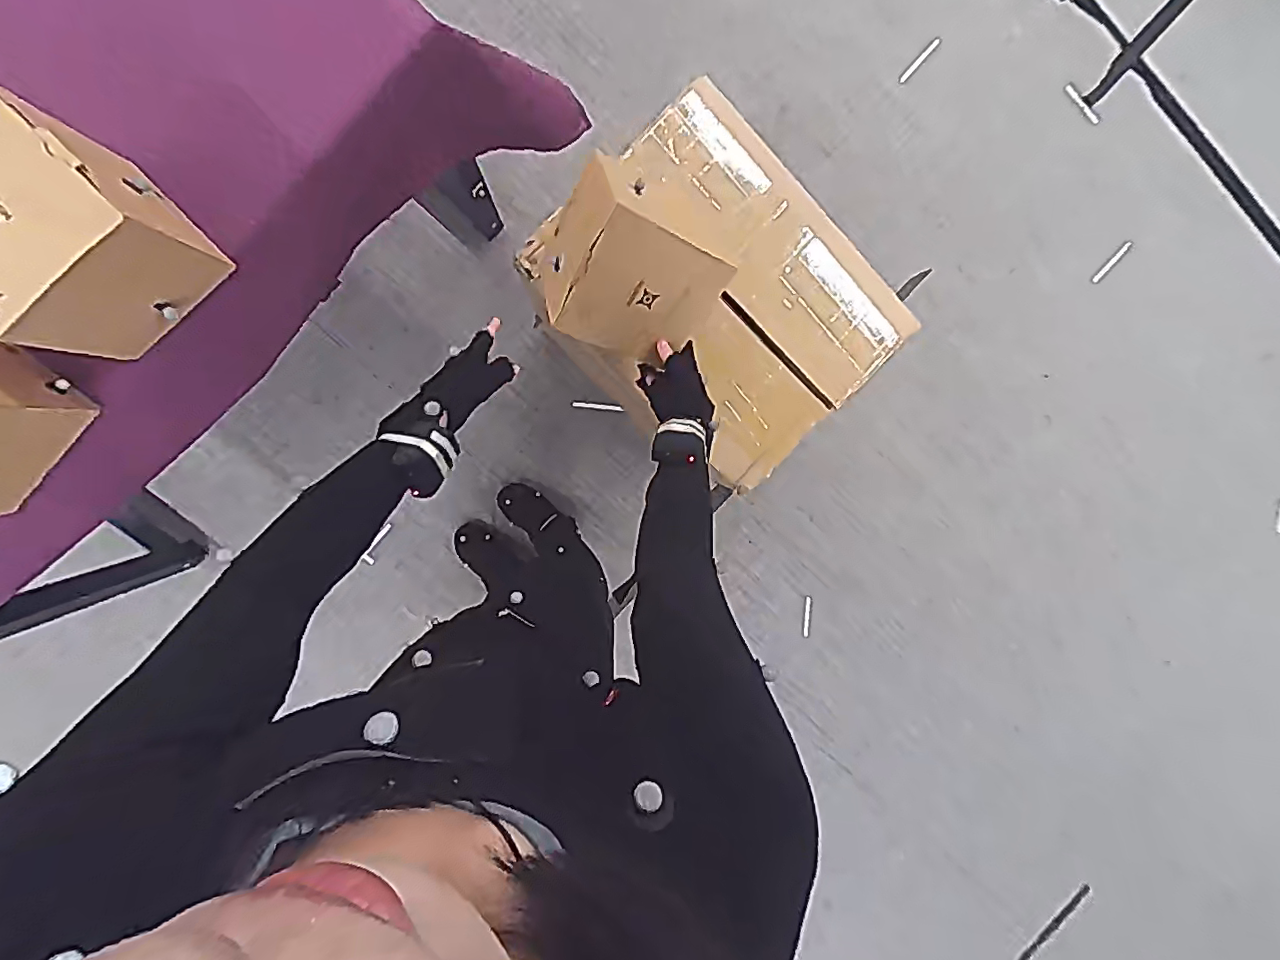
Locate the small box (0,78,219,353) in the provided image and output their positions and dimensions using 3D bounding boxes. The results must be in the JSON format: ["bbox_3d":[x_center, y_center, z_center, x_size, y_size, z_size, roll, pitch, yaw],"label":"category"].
[{"bbox_3d":[-0.610,-0.262,0.581,0.179,0.176,0.168,-43,97,-1],"label":"small box"}]

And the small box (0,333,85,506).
[{"bbox_3d":[-0.776,-0.074,0.580,0.168,0.176,0.179,41,91,-7],"label":"small box"}]

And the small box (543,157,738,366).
[{"bbox_3d":[-0.012,-0.281,0.697,0.179,0.176,0.168,11,134,-31],"label":"small box"}]
